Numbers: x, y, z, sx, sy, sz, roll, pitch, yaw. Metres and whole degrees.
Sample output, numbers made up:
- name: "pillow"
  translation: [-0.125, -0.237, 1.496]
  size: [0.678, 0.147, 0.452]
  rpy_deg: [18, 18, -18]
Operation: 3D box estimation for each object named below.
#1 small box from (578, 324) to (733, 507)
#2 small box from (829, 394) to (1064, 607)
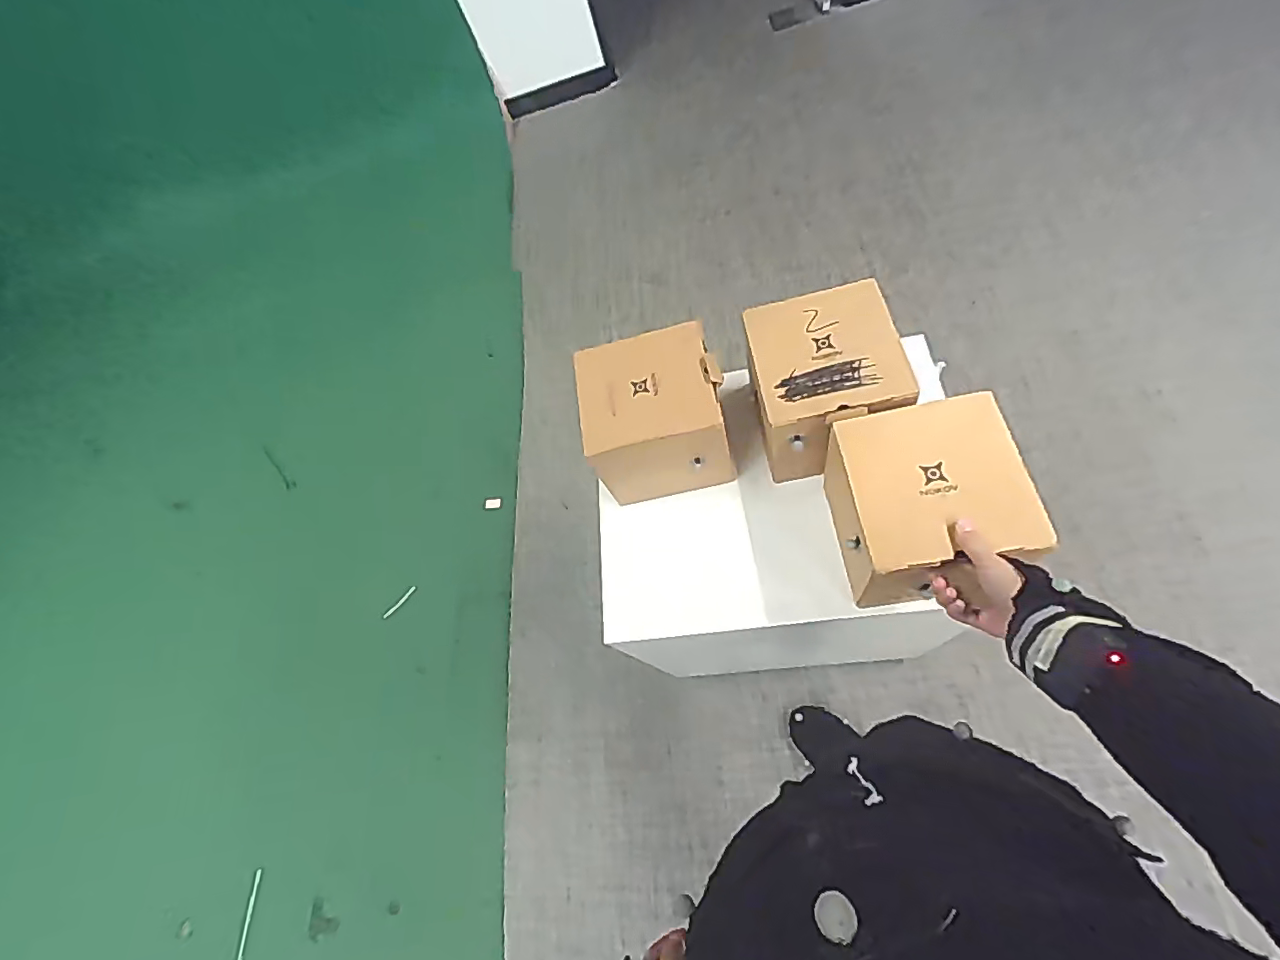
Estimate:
- name: "small box"
  translation: [0.028, -0.080, 0.750]
  size: [0.179, 0.176, 0.168]
  rpy_deg: [-13, 62, 9]
- name: "small box"
  translation: [0.320, 0.032, 0.615]
  size: [0.168, 0.176, 0.179]
  rpy_deg: [-11, 63, 10]
